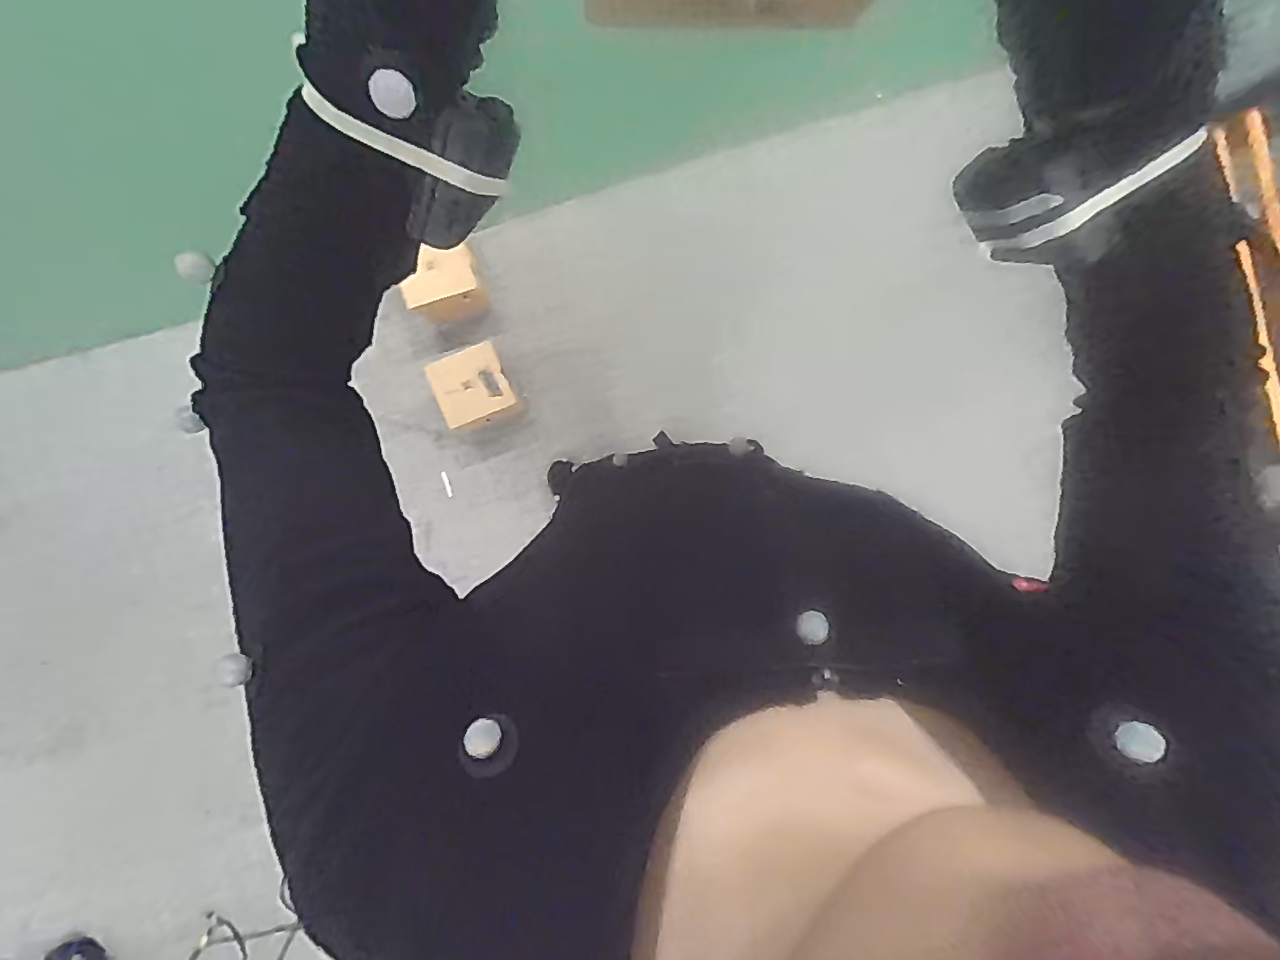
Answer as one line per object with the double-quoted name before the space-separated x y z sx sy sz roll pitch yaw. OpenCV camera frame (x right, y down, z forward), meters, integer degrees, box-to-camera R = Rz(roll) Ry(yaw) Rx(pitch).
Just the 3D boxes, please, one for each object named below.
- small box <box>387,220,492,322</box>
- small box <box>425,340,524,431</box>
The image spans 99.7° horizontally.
"small box" -0.491 -0.511 1.349 0.179 0.176 0.168 -19 94 -2
"small box" -0.404 -0.232 1.363 0.179 0.176 0.168 -23 93 -1
